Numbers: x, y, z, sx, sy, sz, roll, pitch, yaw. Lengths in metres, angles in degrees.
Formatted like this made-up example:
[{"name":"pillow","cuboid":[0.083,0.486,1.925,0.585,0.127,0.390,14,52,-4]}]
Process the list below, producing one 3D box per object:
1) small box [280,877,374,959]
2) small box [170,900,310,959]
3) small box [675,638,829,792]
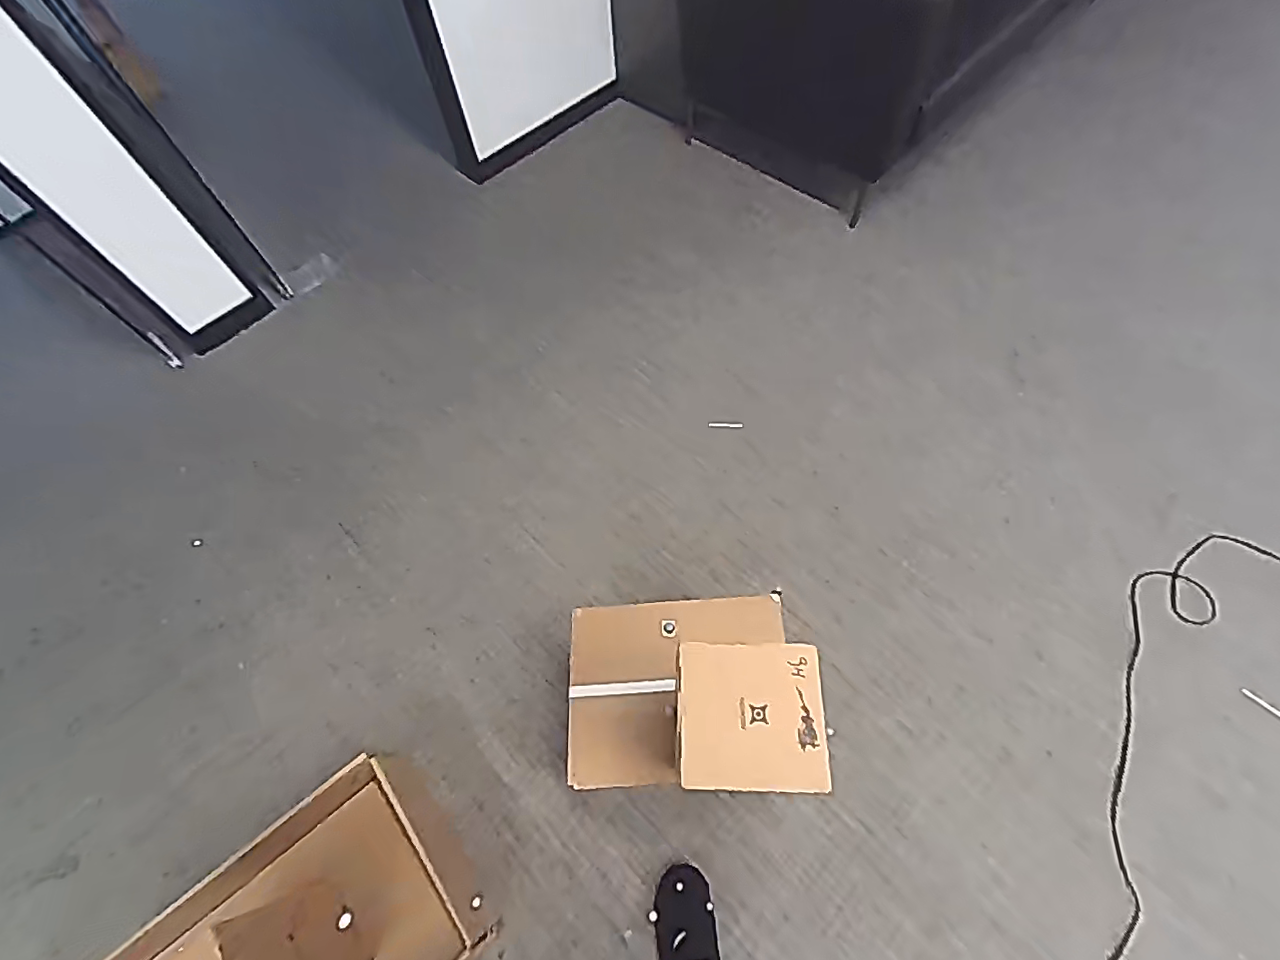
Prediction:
[{"name":"small box","cuboid":[-0.617,0.854,0.956,0.179,0.176,0.168,-38,68,-15]},{"name":"small box","cuboid":[-0.625,0.781,0.808,0.179,0.176,0.168,-37,67,-14]},{"name":"small box","cuboid":[0.137,0.310,0.720,0.179,0.176,0.168,1,66,4]}]
